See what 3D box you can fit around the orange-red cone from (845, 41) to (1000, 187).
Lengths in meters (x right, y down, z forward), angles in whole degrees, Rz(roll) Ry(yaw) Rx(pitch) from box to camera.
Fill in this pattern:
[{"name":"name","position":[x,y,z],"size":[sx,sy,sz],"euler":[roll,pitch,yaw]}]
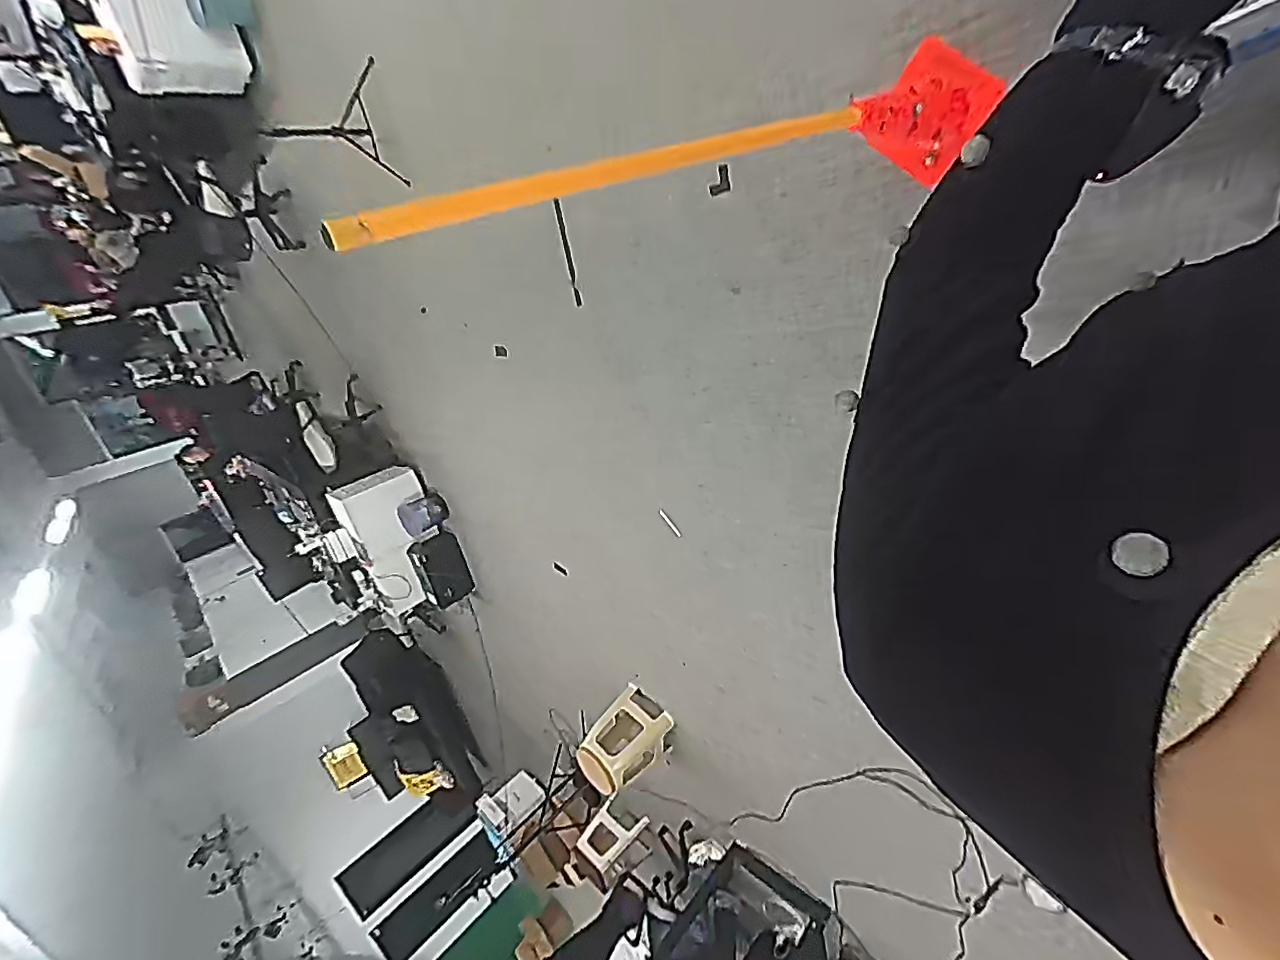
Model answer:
[{"name":"orange-red cone","position":[0.468,-0.665,0.987],"size":[0.198,0.360,0.199],"euler":[48,140,13]}]
